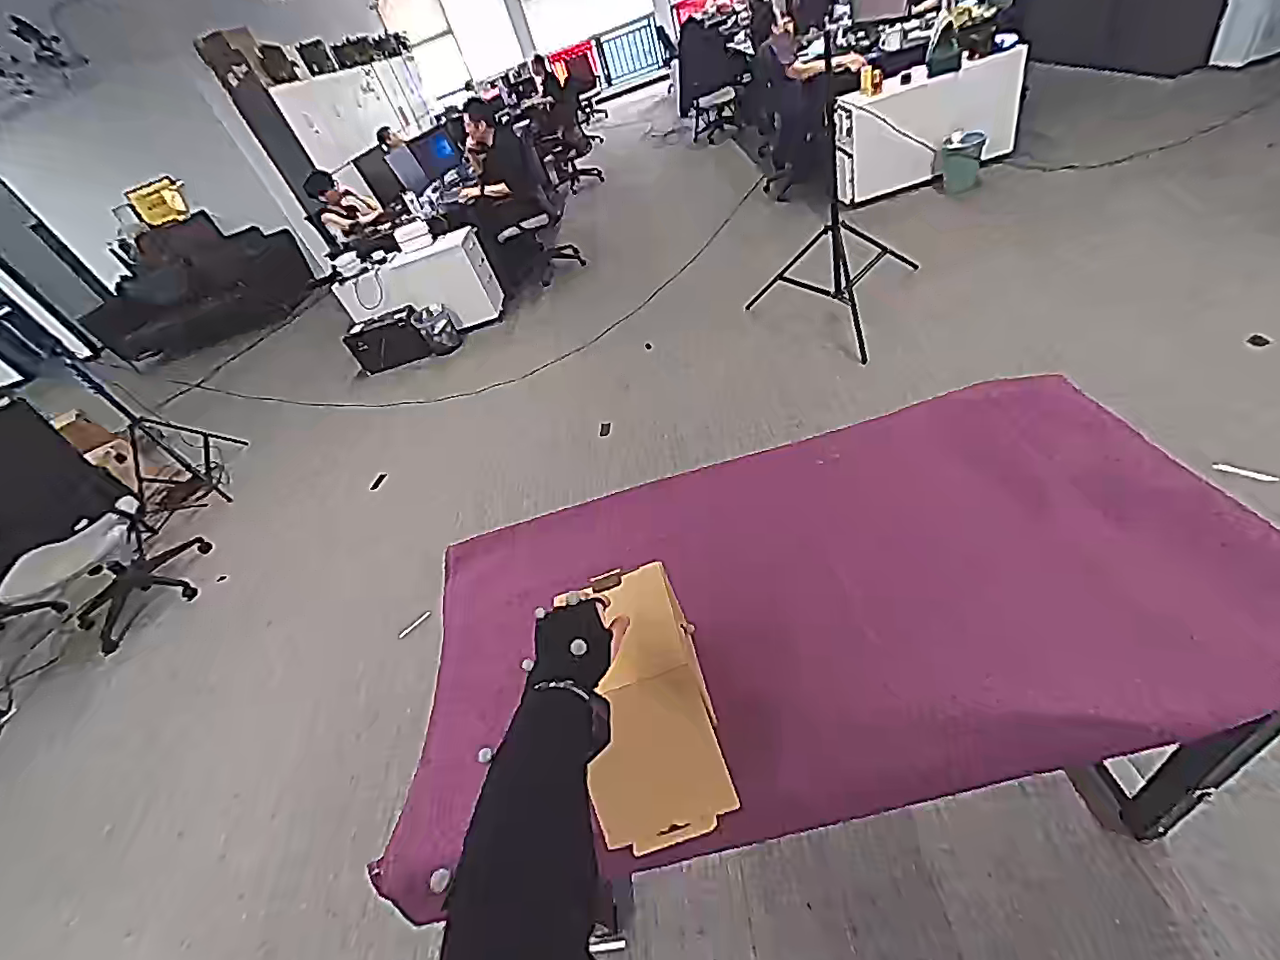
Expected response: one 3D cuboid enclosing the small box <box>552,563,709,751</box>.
[{"bbox_3d":[-0.013,0.255,0.762,0.168,0.176,0.179,-19,38,2],"label":"small box"}]
